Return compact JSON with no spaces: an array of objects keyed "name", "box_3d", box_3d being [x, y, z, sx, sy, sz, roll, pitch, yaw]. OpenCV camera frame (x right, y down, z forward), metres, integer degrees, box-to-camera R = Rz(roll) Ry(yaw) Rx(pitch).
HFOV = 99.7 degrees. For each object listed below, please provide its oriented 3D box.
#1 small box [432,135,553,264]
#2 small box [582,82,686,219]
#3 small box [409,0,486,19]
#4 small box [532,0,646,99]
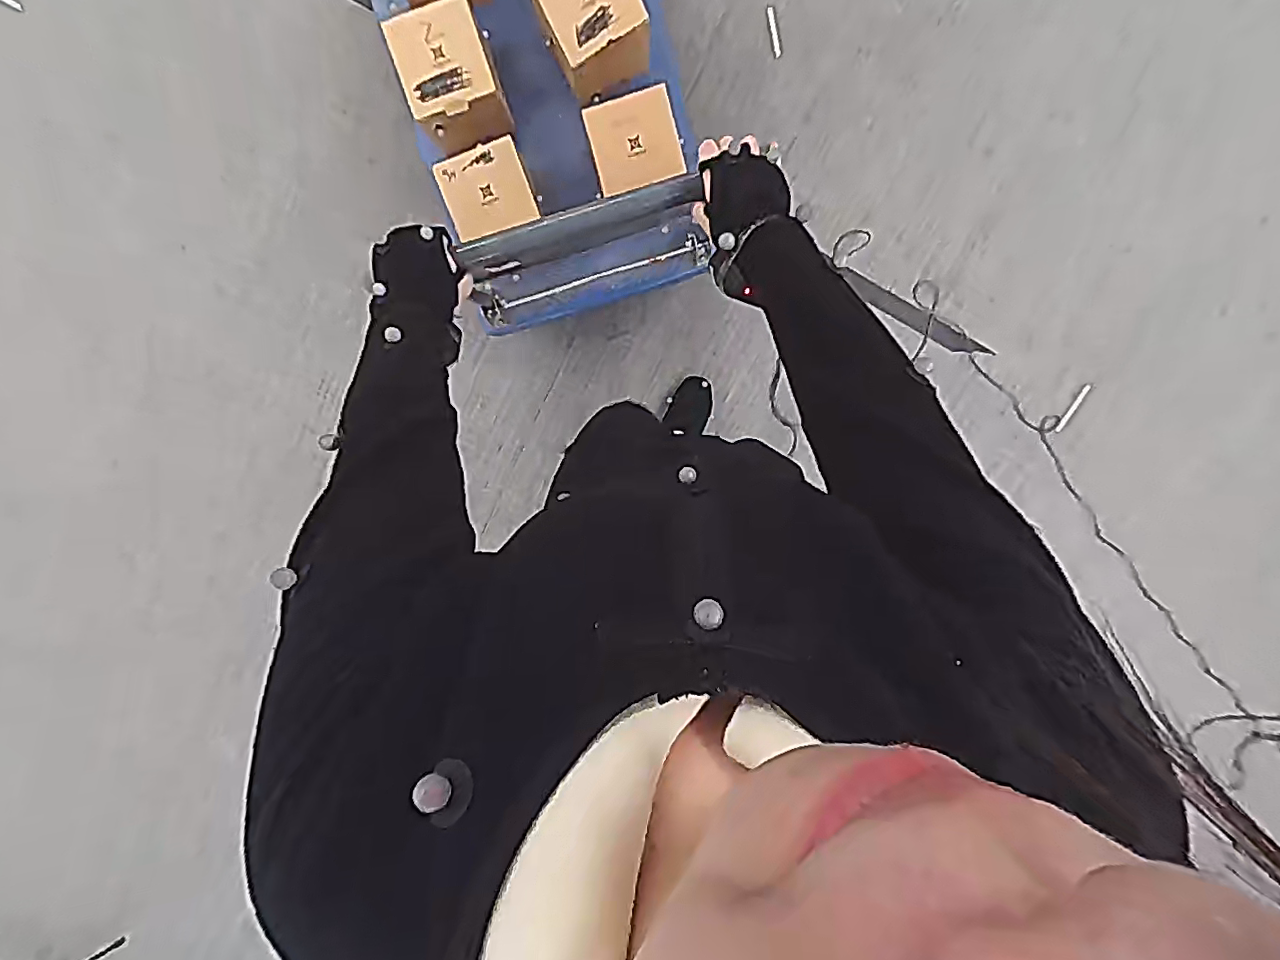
[{"name":"small box","box_3d":[-0.293,-0.564,1.119,0.168,0.176,0.179,-20,101,3]},{"name":"small box","box_3d":[-0.009,-0.654,1.103,0.168,0.176,0.179,-16,100,3]},{"name":"small box","box_3d":[-0.405,-1.041,1.025,0.168,0.176,0.179,-15,102,3]},{"name":"small box","box_3d":[-0.098,-0.892,1.056,0.168,0.176,0.179,-29,99,5]}]
